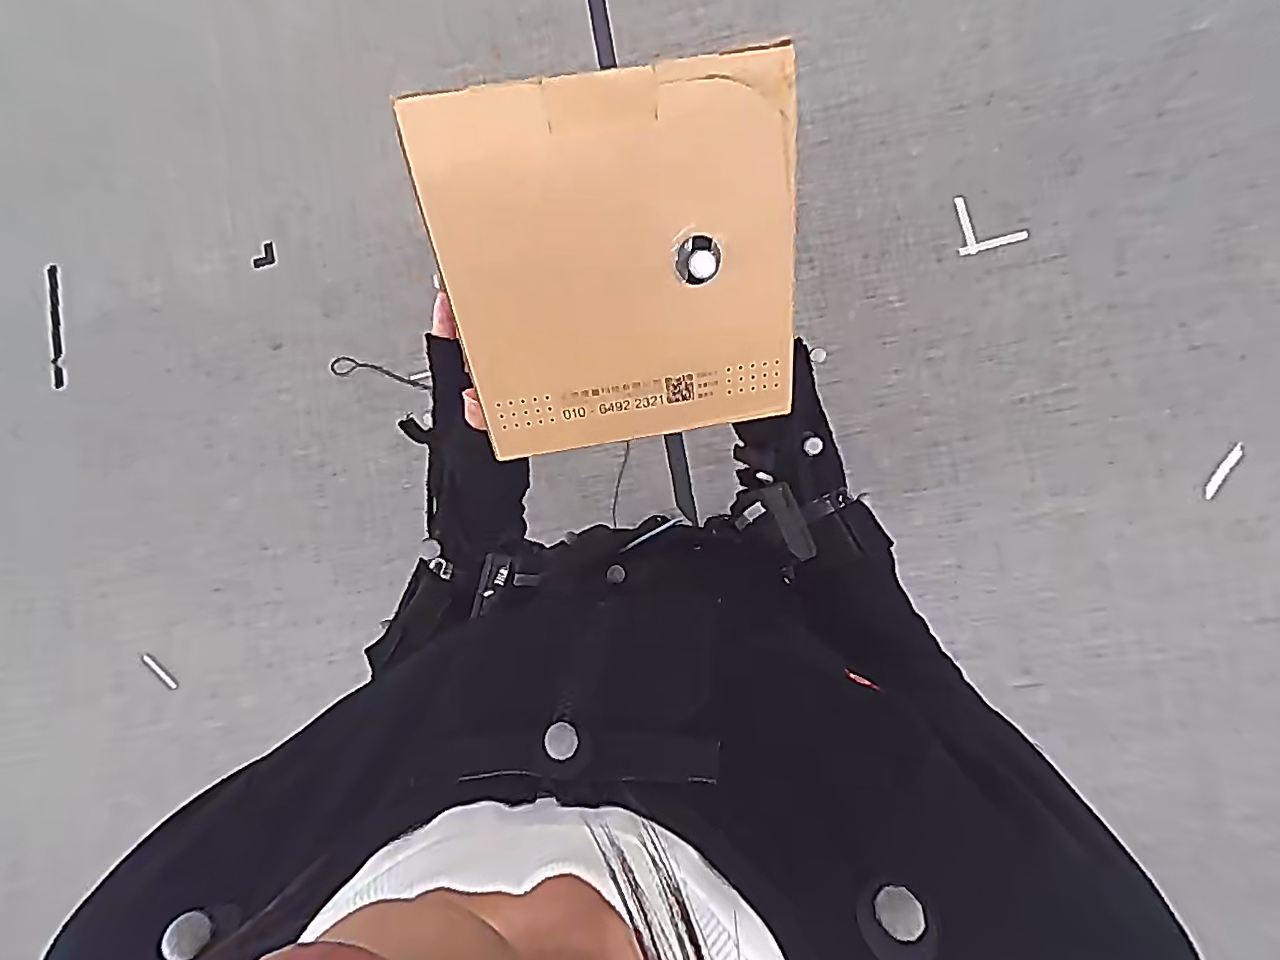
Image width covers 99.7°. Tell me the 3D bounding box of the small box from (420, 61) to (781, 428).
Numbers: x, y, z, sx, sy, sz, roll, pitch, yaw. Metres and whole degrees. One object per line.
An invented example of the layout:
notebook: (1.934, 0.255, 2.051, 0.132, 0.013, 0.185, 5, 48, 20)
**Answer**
small box: (-0.013, -0.141, 0.346, 0.168, 0.179, 0.176, -9, 121, -1)
